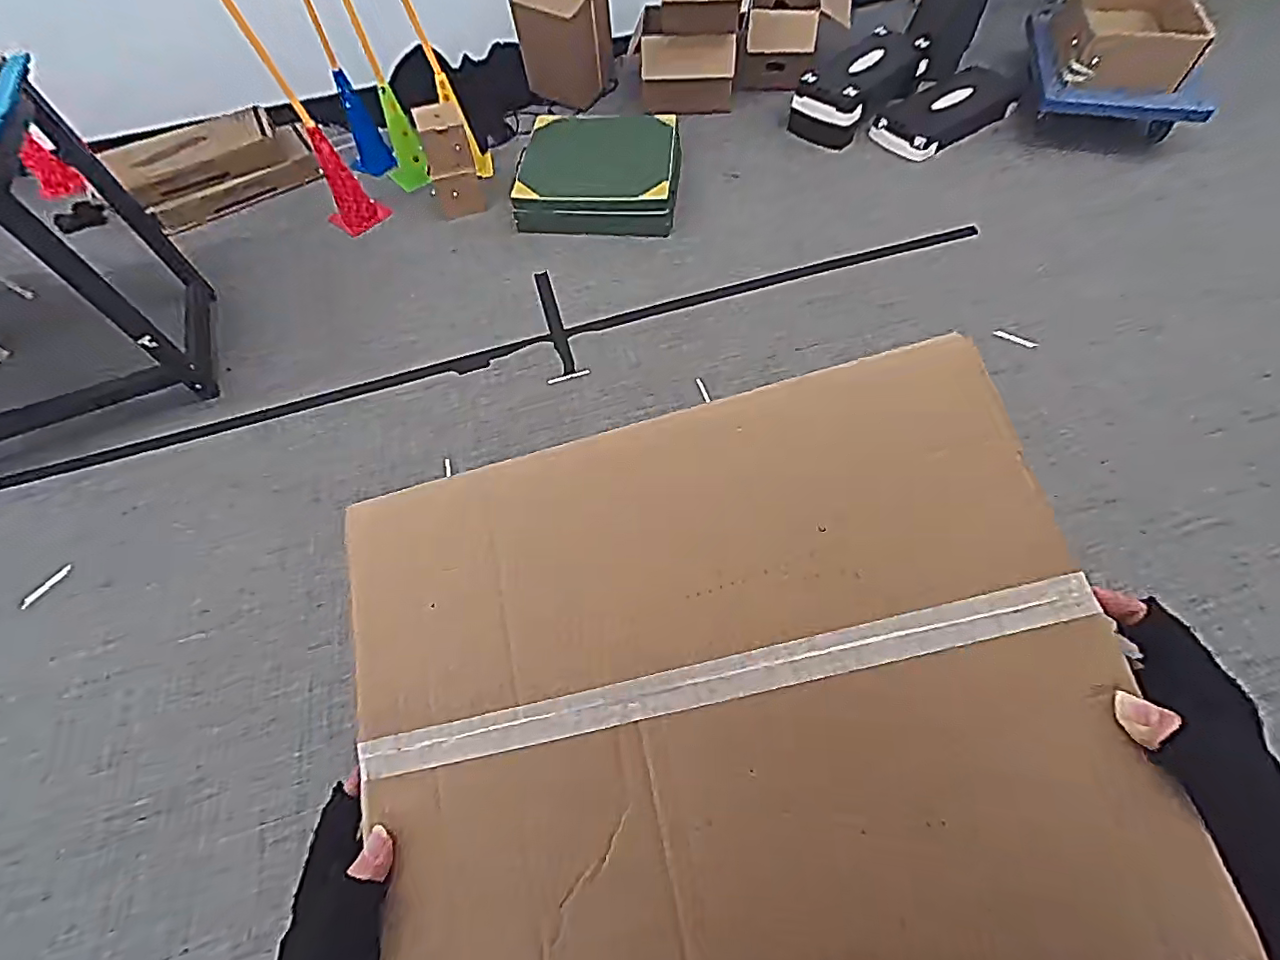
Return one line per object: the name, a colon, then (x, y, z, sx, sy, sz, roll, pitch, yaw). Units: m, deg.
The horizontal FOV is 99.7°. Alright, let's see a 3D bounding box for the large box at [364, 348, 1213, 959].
large box: (0.063, 0.151, 0.445, 0.408, 0.320, 0.320, -16, 72, 6)
